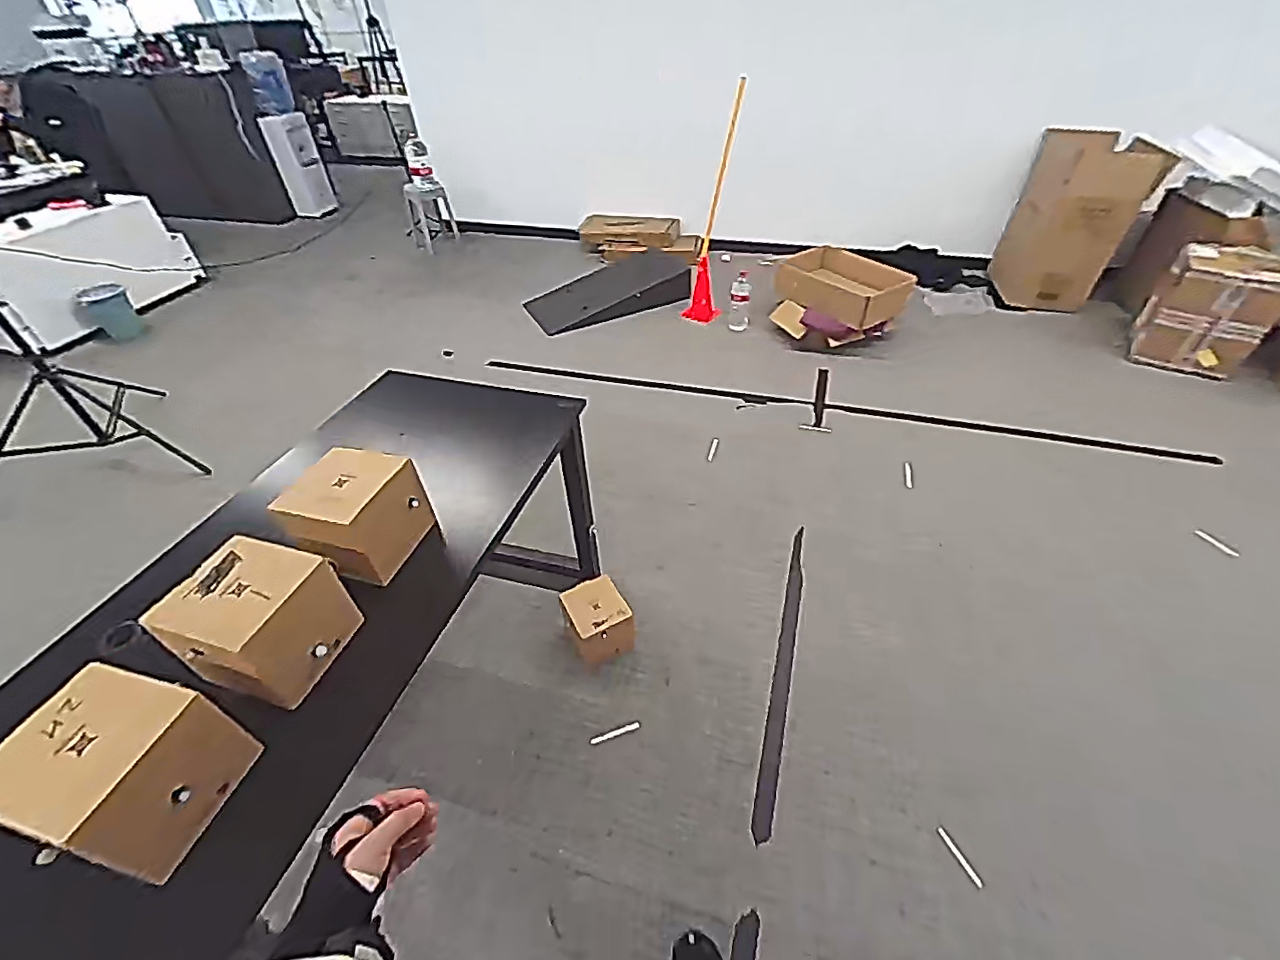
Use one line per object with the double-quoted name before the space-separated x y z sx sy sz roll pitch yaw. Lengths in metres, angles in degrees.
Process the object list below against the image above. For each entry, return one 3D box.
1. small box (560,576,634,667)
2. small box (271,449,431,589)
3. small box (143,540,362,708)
"small box" -0.129 0.434 1.650 0.168 0.176 0.179 -22 46 -20
"small box" -0.510 0.070 0.990 0.168 0.176 0.179 8 44 14
"small box" -0.572 0.221 0.825 0.179 0.176 0.168 10 44 13
